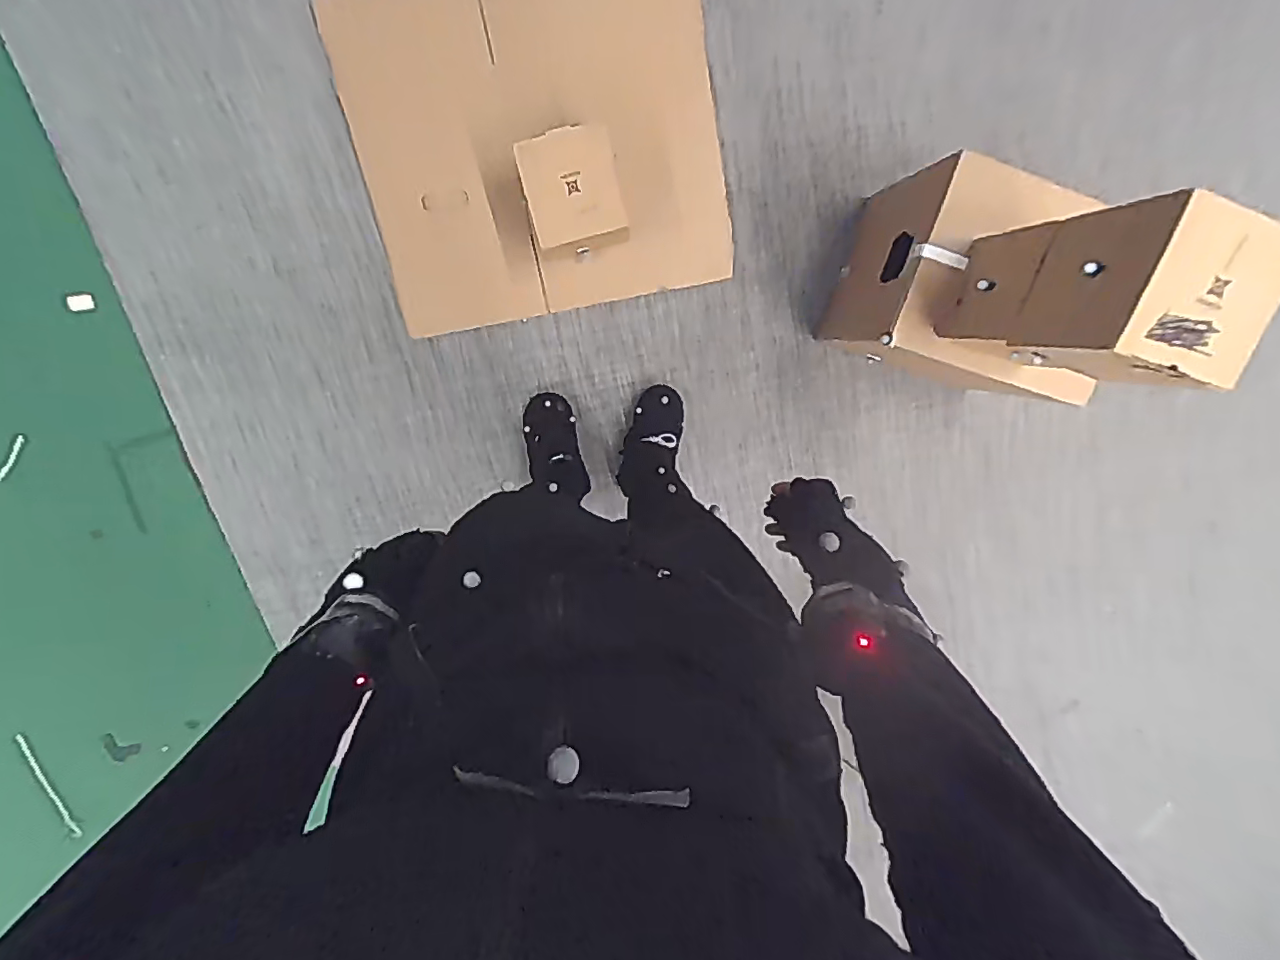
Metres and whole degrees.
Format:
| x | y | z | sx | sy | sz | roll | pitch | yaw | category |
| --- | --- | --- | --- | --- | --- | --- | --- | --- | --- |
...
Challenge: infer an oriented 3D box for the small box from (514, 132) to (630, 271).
| x | y | z | sx | sy | sz | roll | pitch | yaw | category |
| --- | --- | --- | --- | --- | --- | --- | --- | --- | --- |
| -0.121 | -0.512 | 1.019 | 0.168 | 0.176 | 0.179 | -15 | 105 | 3 | small box |

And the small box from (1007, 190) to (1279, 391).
| x | y | z | sx | sy | sz | roll | pitch | yaw | category |
| --- | --- | --- | --- | --- | --- | --- | --- | --- | --- |
| 0.611 | -0.224 | 0.677 | 0.168 | 0.176 | 0.179 | 15 | 102 | -9 | small box |

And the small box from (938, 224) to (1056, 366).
| x | y | z | sx | sy | sz | roll | pitch | yaw | category |
| --- | --- | --- | --- | --- | --- | --- | --- | --- | --- |
| 0.605 | -0.273 | 0.837 | 0.179 | 0.176 | 0.168 | 10 | 102 | -8 | small box |
